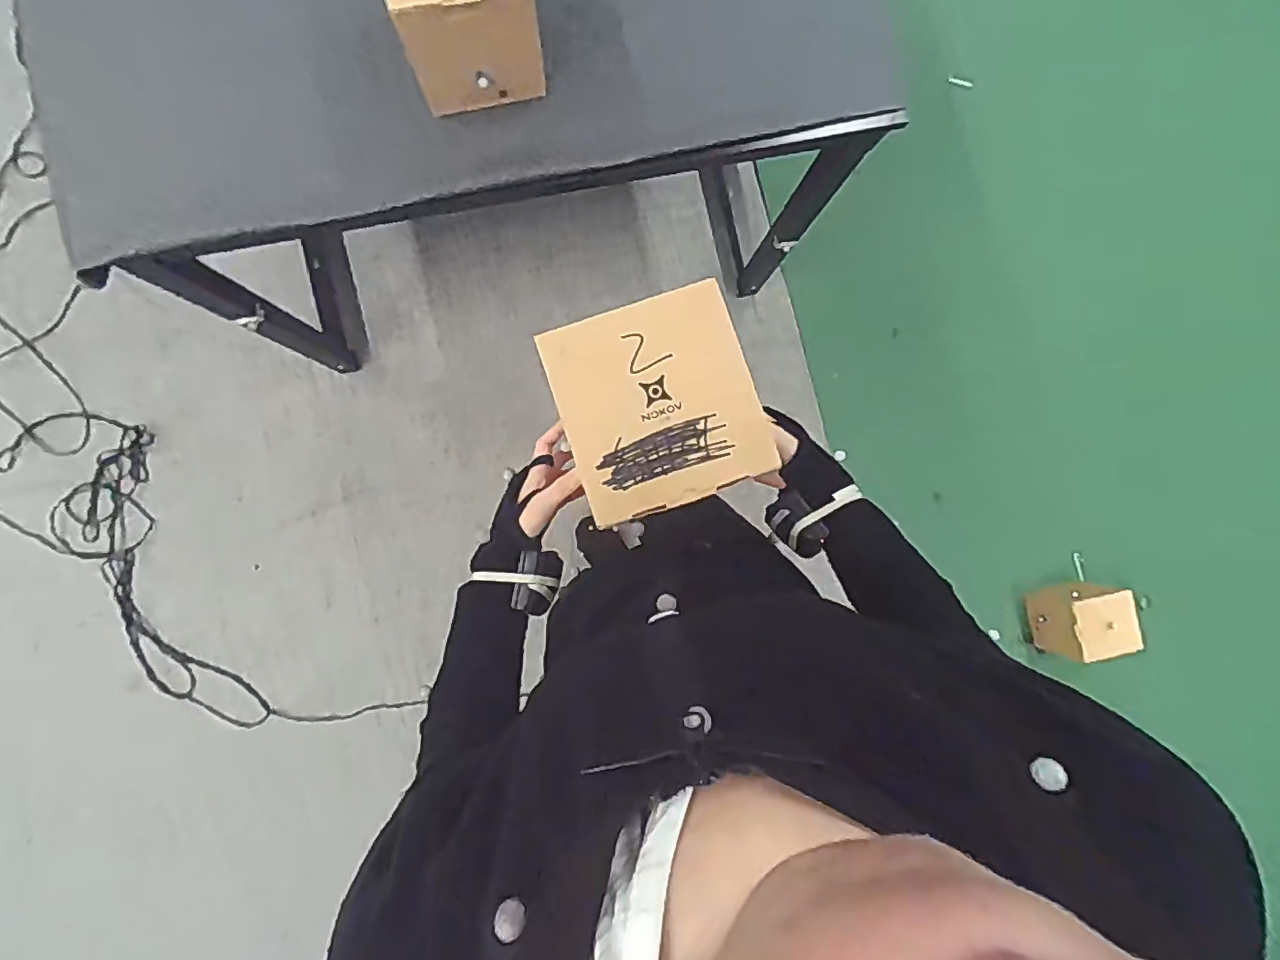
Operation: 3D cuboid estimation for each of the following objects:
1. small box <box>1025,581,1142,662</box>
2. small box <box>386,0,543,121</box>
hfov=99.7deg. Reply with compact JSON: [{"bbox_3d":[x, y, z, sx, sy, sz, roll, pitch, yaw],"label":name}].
[{"bbox_3d":[1.240,0.391,1.522,0.179,0.176,0.168,-12,89,-5],"label":"small box"},{"bbox_3d":[-0.230,-0.616,0.701,0.168,0.176,0.179,-14,88,-5],"label":"small box"}]
